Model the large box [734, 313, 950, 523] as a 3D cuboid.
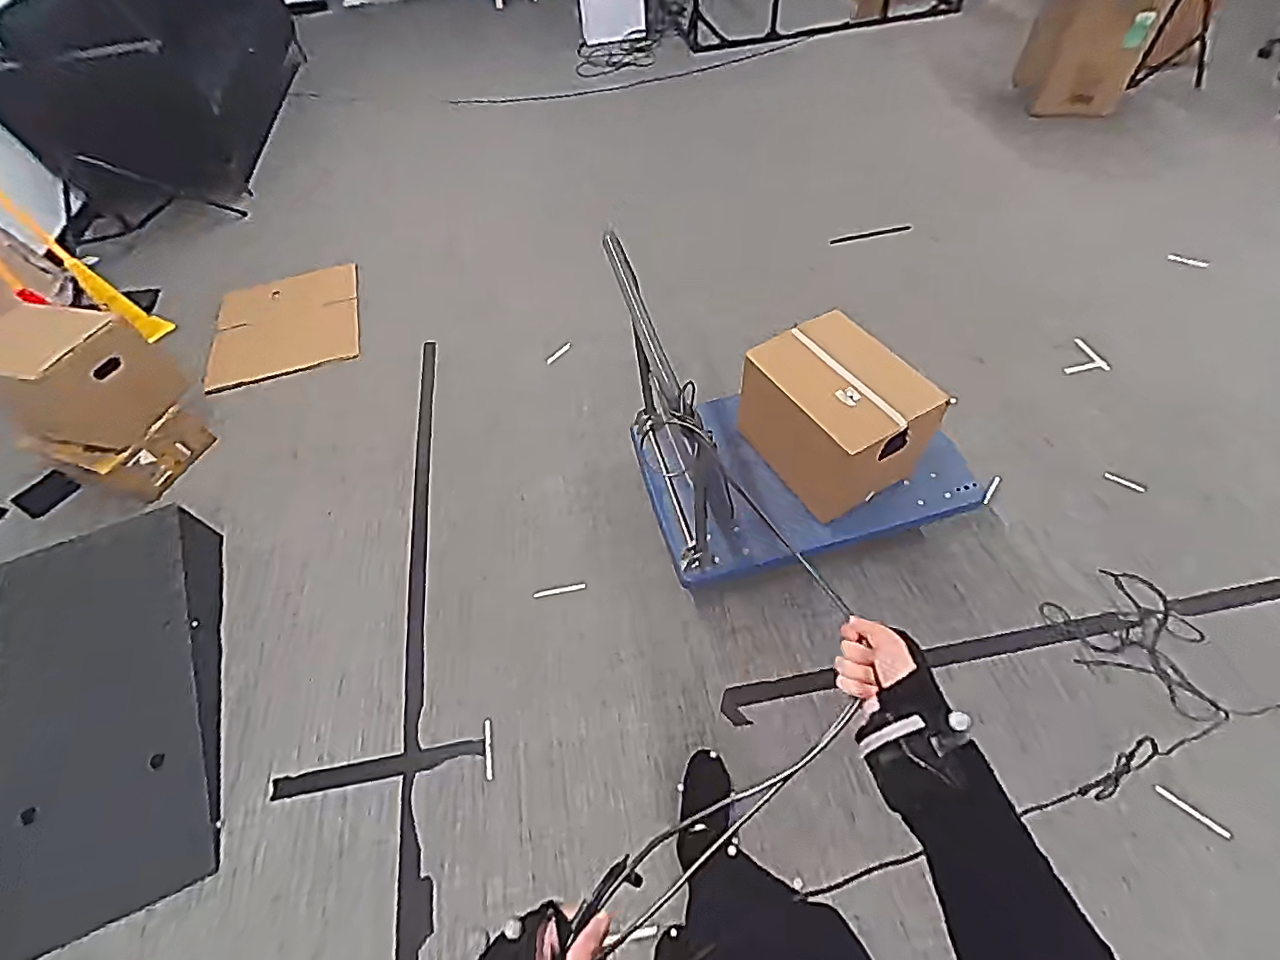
[{"bbox_3d":[0.503,-0.168,1.448,0.320,0.320,0.408,-28,59,-13],"label":"large box"}]
